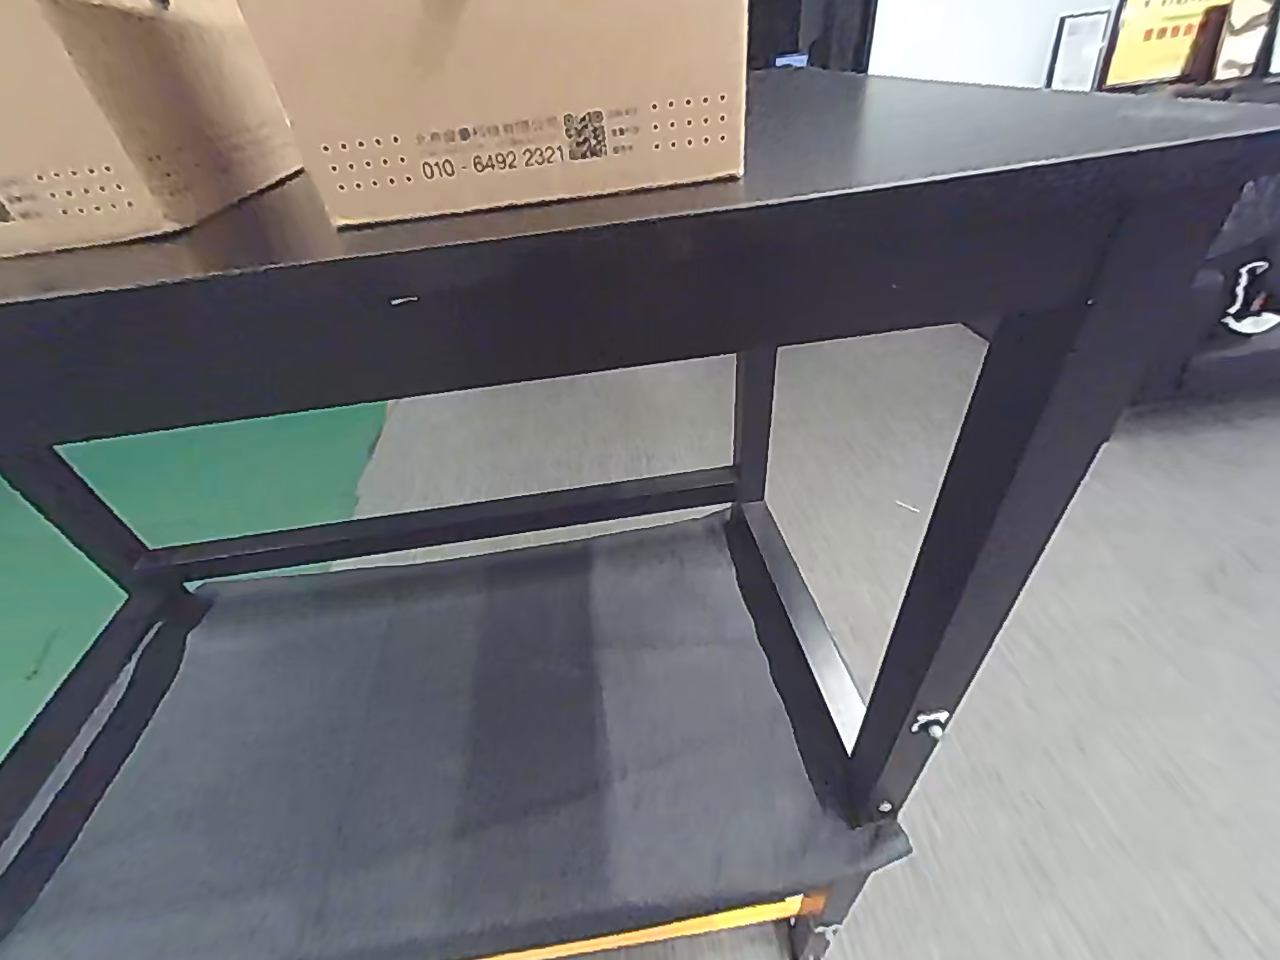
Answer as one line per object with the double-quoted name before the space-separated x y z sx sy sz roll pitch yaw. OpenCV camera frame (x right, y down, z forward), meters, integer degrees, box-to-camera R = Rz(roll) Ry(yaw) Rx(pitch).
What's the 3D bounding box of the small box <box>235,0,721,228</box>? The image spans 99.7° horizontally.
"small box" -0.060 -0.219 0.236 0.168 0.176 0.179 -7 38 -1
